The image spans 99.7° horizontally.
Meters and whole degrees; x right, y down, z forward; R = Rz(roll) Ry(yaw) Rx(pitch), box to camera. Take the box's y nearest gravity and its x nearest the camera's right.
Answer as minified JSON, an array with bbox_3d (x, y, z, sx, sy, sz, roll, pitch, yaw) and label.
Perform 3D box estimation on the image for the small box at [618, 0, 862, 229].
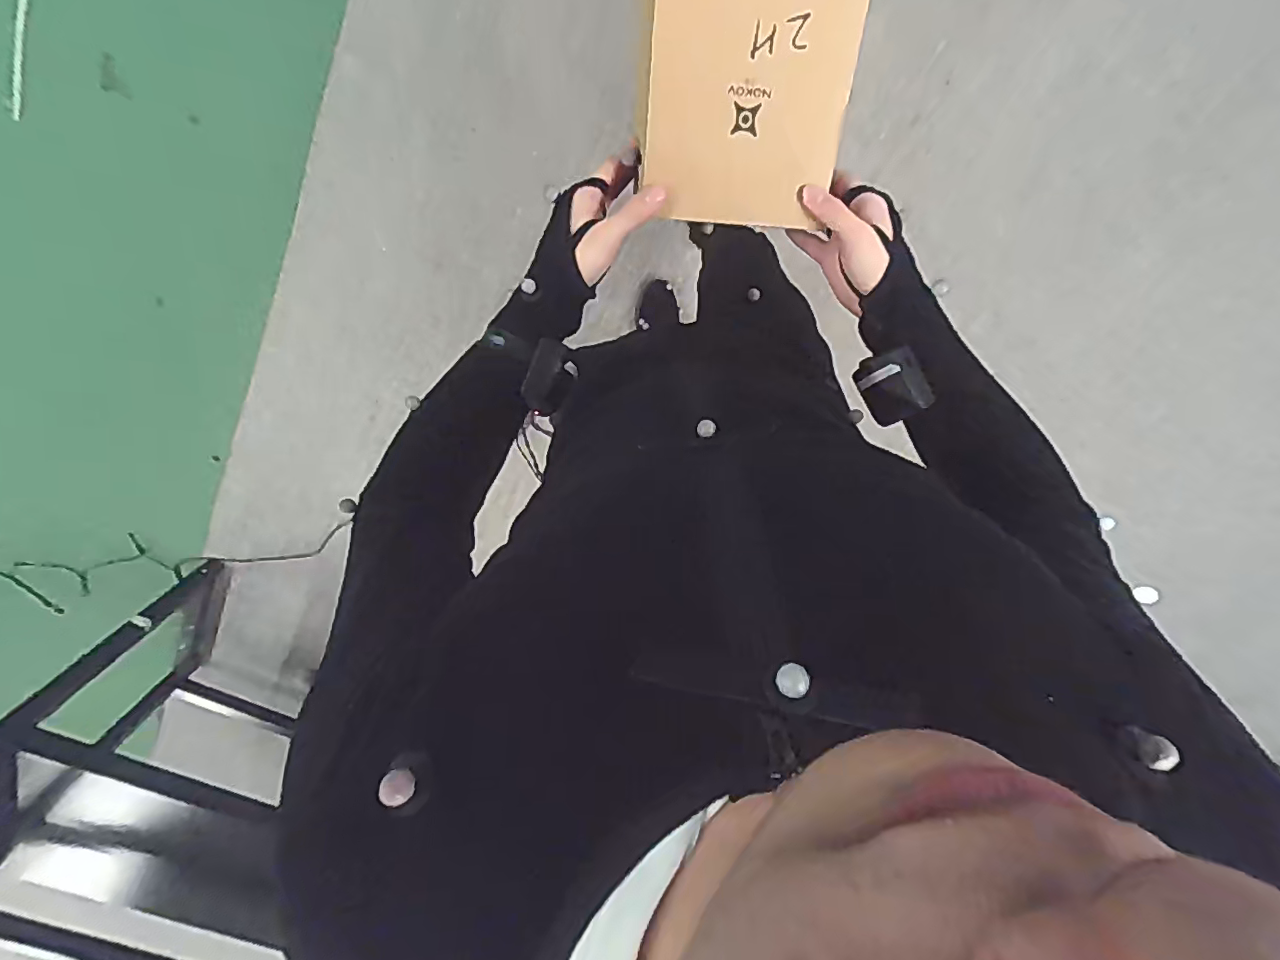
[{"bbox_3d":[0.069,-0.340,0.491,0.168,0.176,0.179,3,120,-7],"label":"small box"}]
